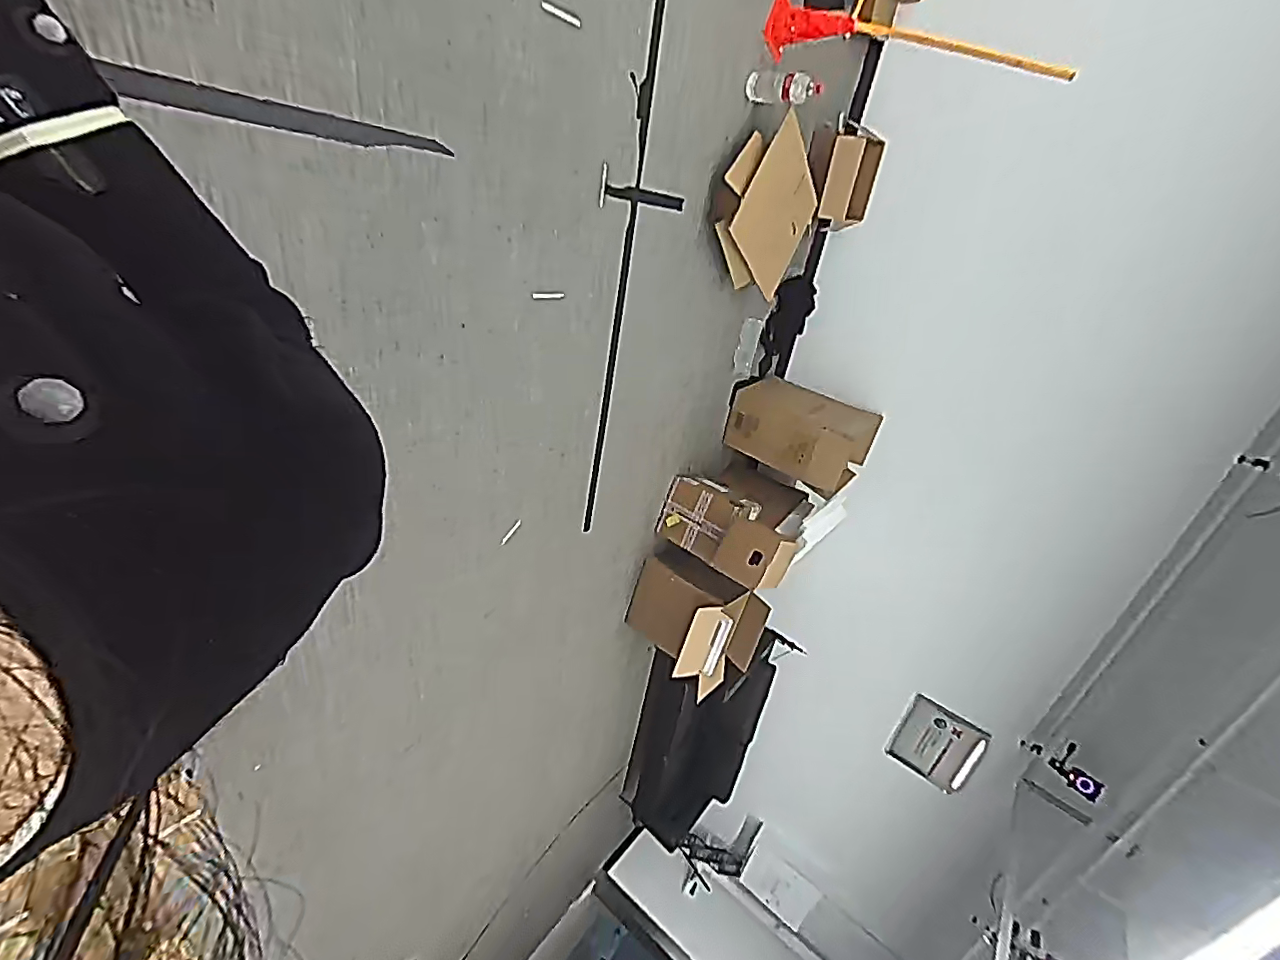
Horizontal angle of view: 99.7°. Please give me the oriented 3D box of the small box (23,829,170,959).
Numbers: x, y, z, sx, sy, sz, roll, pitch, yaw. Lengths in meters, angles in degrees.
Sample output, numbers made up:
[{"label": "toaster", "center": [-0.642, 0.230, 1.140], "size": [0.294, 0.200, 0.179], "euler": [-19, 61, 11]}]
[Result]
[{"label": "small box", "center": [-1.176, 0.915, 1.174], "size": [0.179, 0.176, 0.168], "euler": [-24, 132, -46]}]

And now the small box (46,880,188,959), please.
[{"label": "small box", "center": [-1.046, 0.970, 1.093], "size": [0.168, 0.176, 0.179], "euler": [-24, 131, -48]}]
